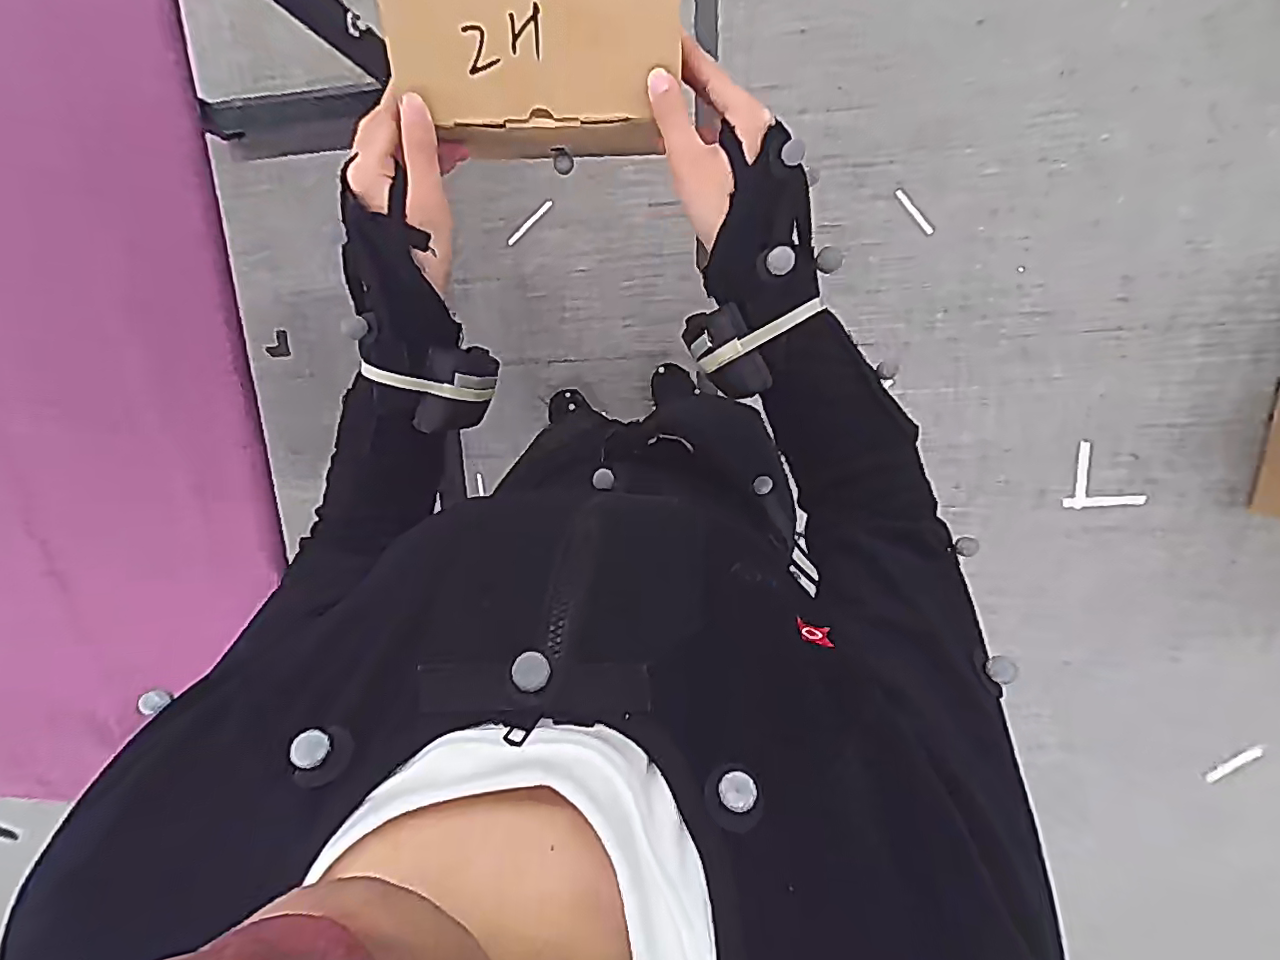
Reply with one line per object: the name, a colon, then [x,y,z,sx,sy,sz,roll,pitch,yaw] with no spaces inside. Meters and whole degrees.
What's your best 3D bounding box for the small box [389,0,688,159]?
small box: [-0.057,-0.325,0.356,0.168,0.176,0.179,-1,114,0]
